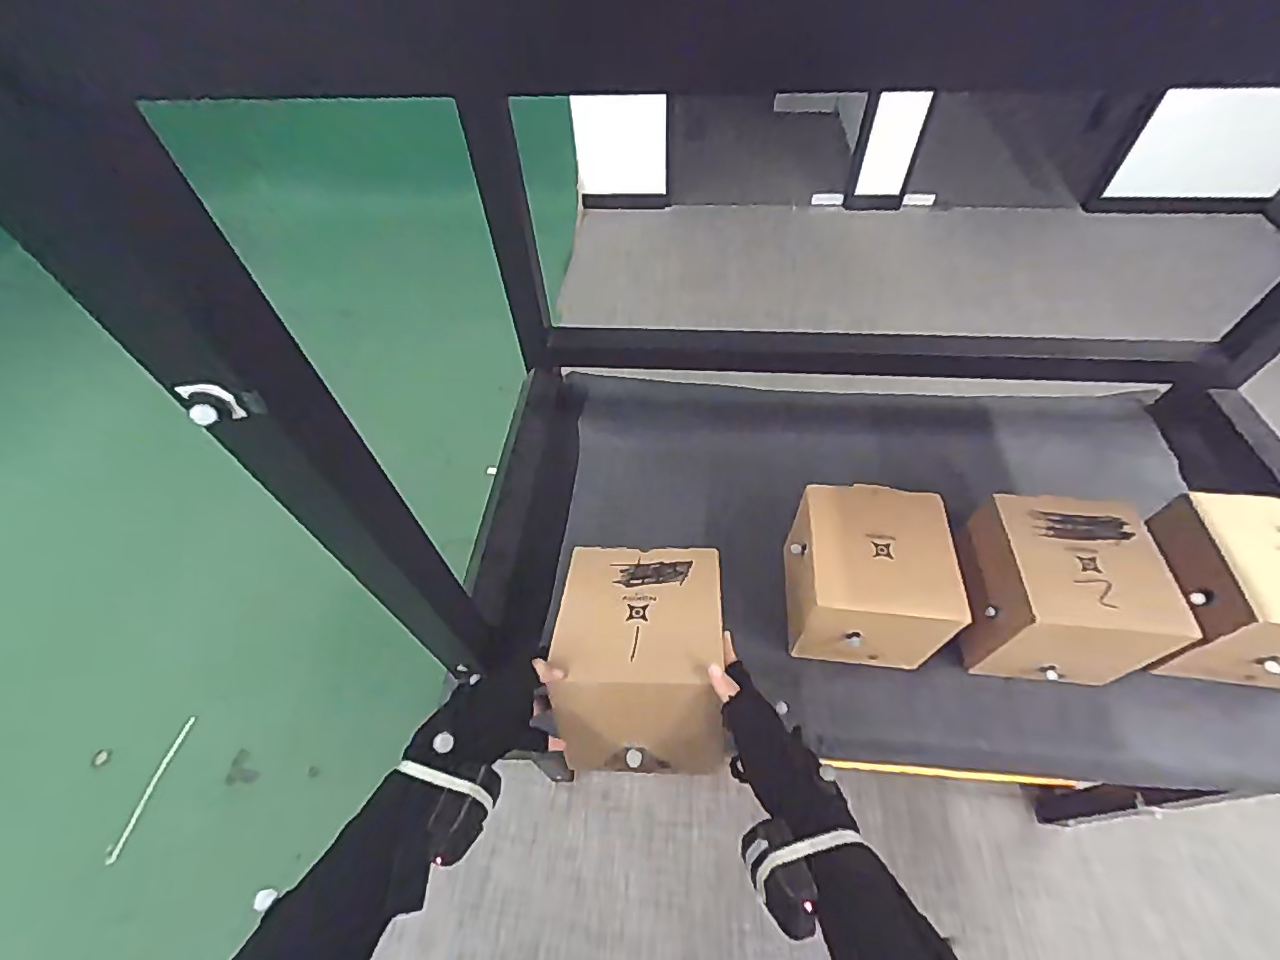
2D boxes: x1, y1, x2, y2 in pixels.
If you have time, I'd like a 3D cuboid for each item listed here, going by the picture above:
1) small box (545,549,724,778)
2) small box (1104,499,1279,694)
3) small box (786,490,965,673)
[{"bbox_3d":[0.005,0.197,0.599,0.168,0.176,0.179,0,37,6],"label":"small box"},{"bbox_3d":[0.739,0.148,0.670,0.168,0.176,0.179,6,52,7],"label":"small box"},{"bbox_3d":[0.288,0.136,0.706,0.168,0.176,0.179,4,52,7],"label":"small box"}]
